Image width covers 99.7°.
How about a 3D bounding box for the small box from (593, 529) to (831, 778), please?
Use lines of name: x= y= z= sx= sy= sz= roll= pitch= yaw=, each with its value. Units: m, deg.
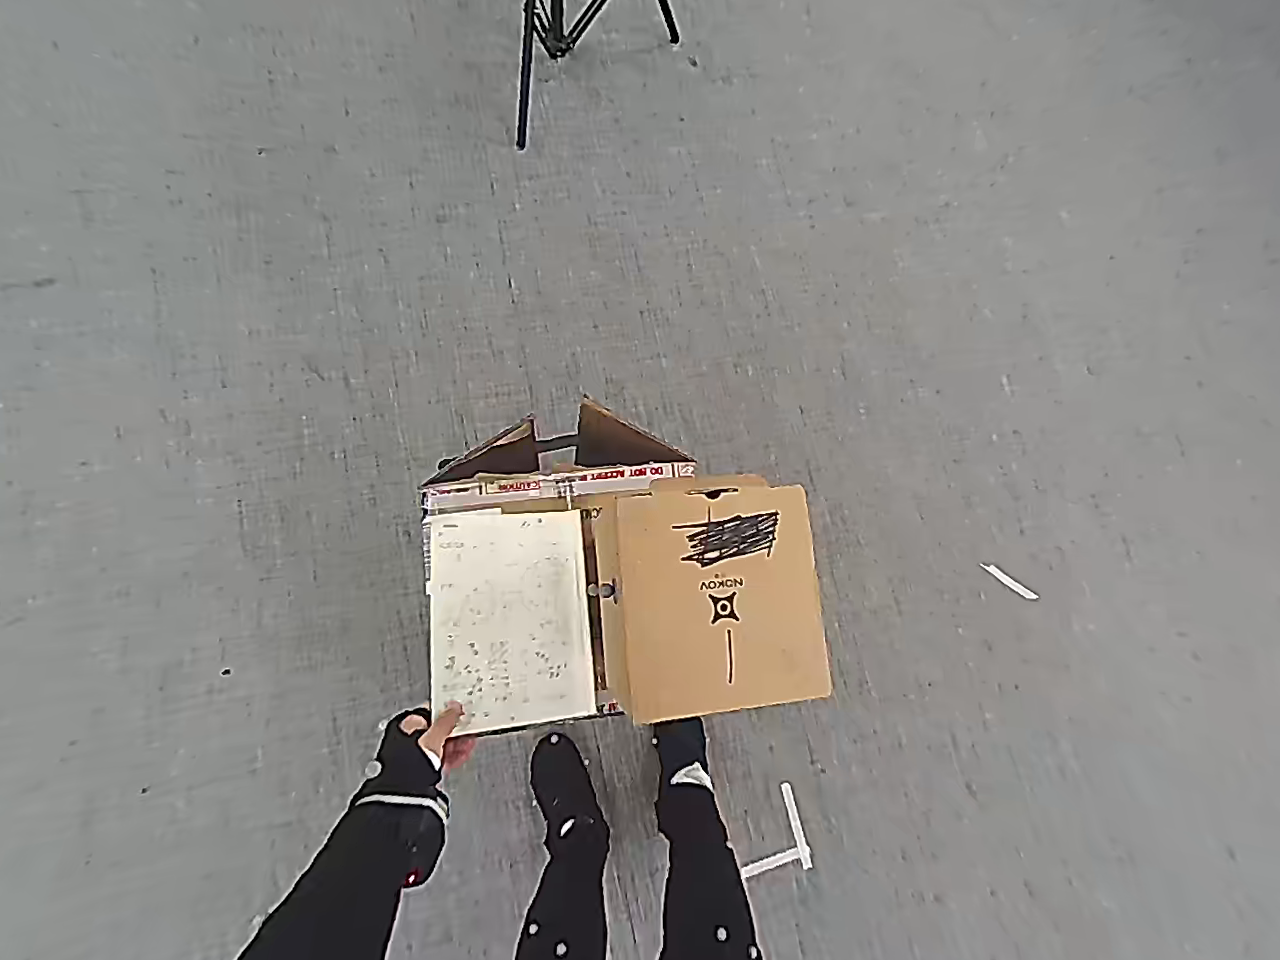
small box: x=0.049 y=0.143 z=0.499 sx=0.168 sy=0.176 sz=0.179 roll=-3 pitch=81 yaw=-11
